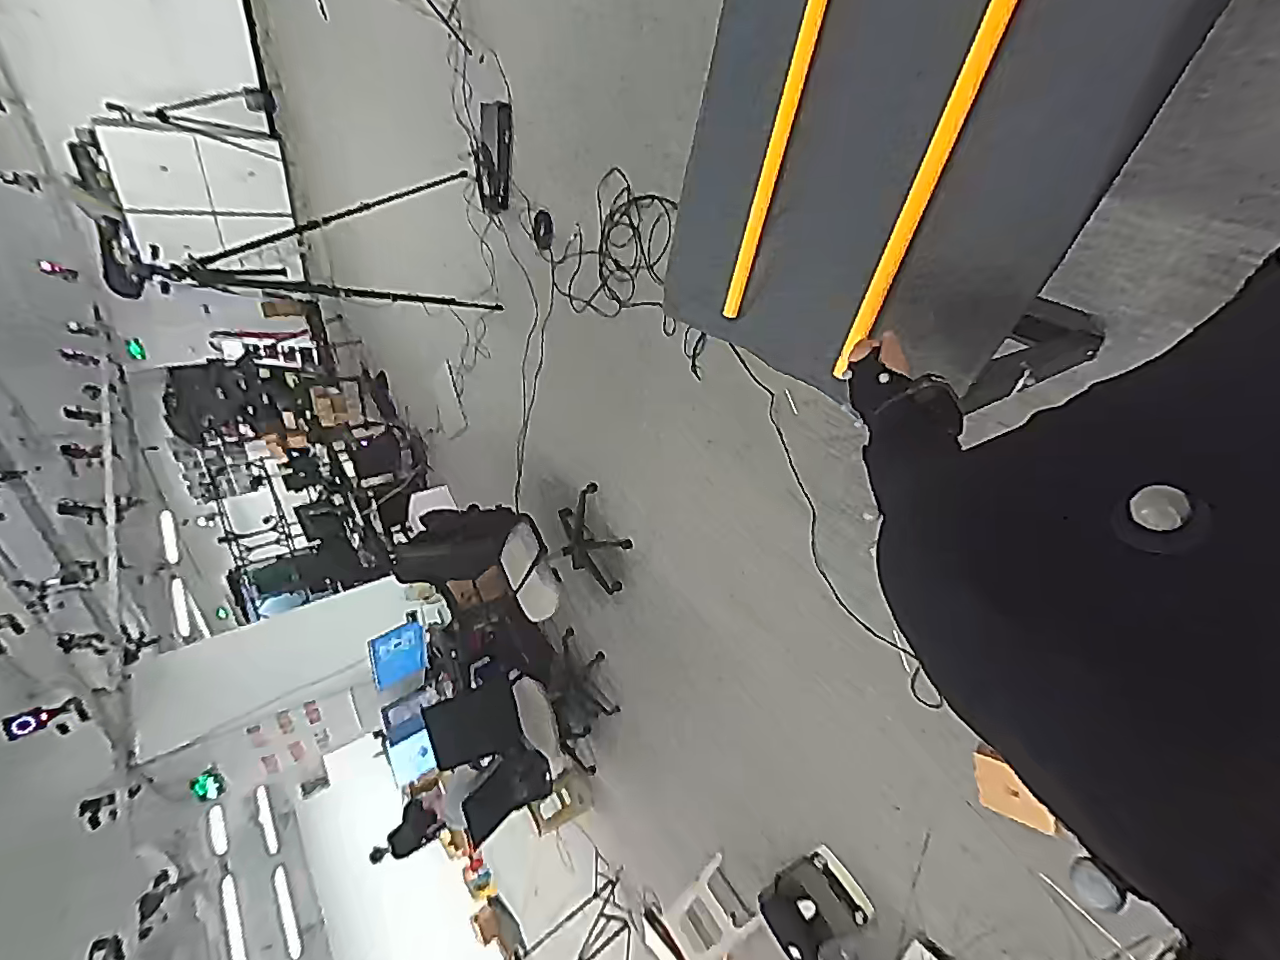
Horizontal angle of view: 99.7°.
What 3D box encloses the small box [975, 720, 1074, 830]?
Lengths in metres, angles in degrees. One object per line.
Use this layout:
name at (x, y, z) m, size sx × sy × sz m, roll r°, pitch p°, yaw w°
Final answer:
small box at (1.034, 0.777, 1.450) m, size 0.179 × 0.176 × 0.168 m, roll -1°, pitch 105°, yaw 54°
